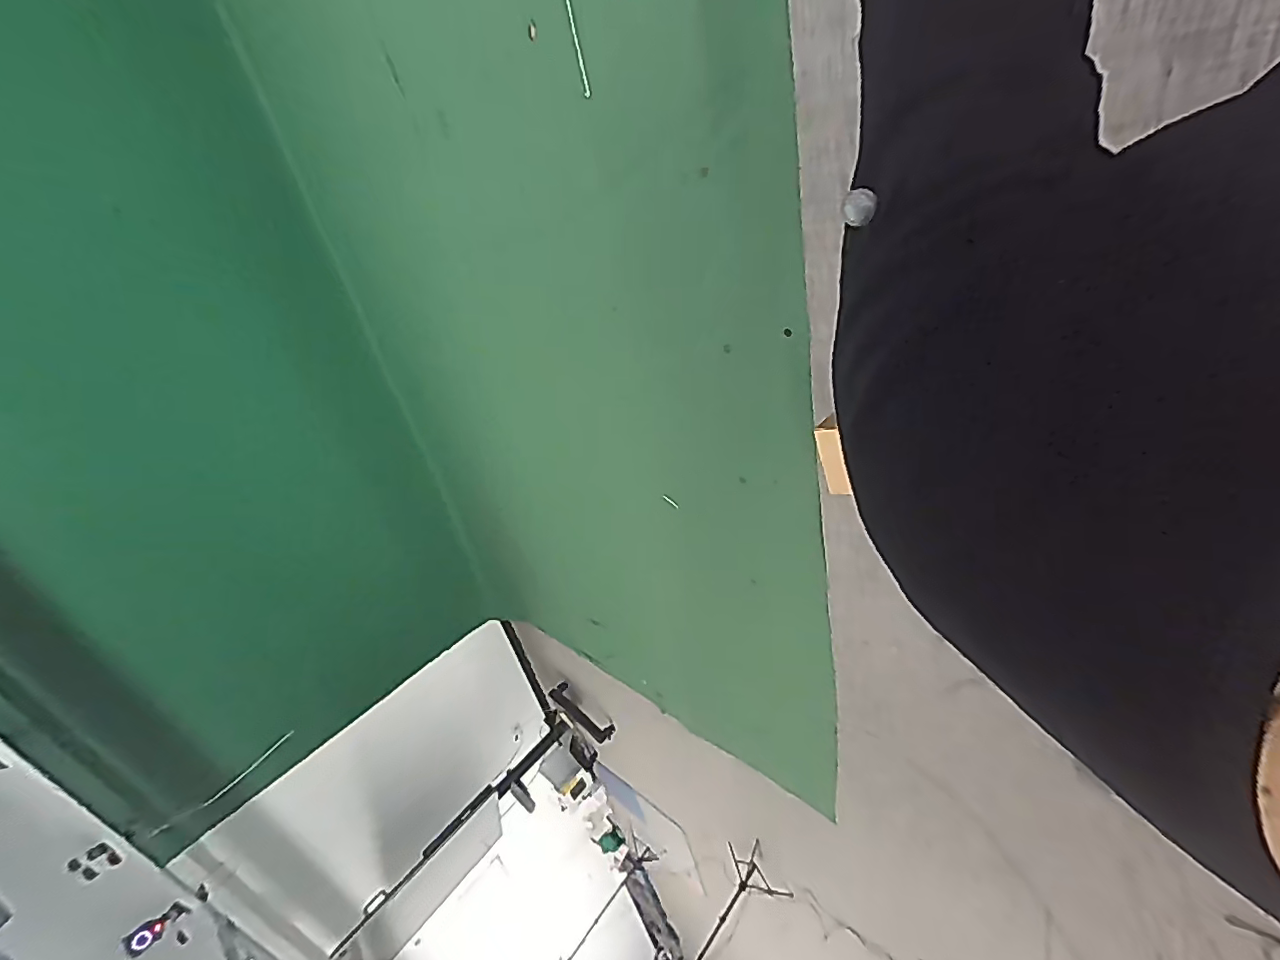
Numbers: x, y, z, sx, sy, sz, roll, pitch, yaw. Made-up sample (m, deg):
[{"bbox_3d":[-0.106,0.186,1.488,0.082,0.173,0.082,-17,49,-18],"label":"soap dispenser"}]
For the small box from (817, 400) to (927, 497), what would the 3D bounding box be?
[{"bbox_3d":[0.547,-0.078,1.267,0.168,0.176,0.179,2,121,50],"label":"small box"}]
